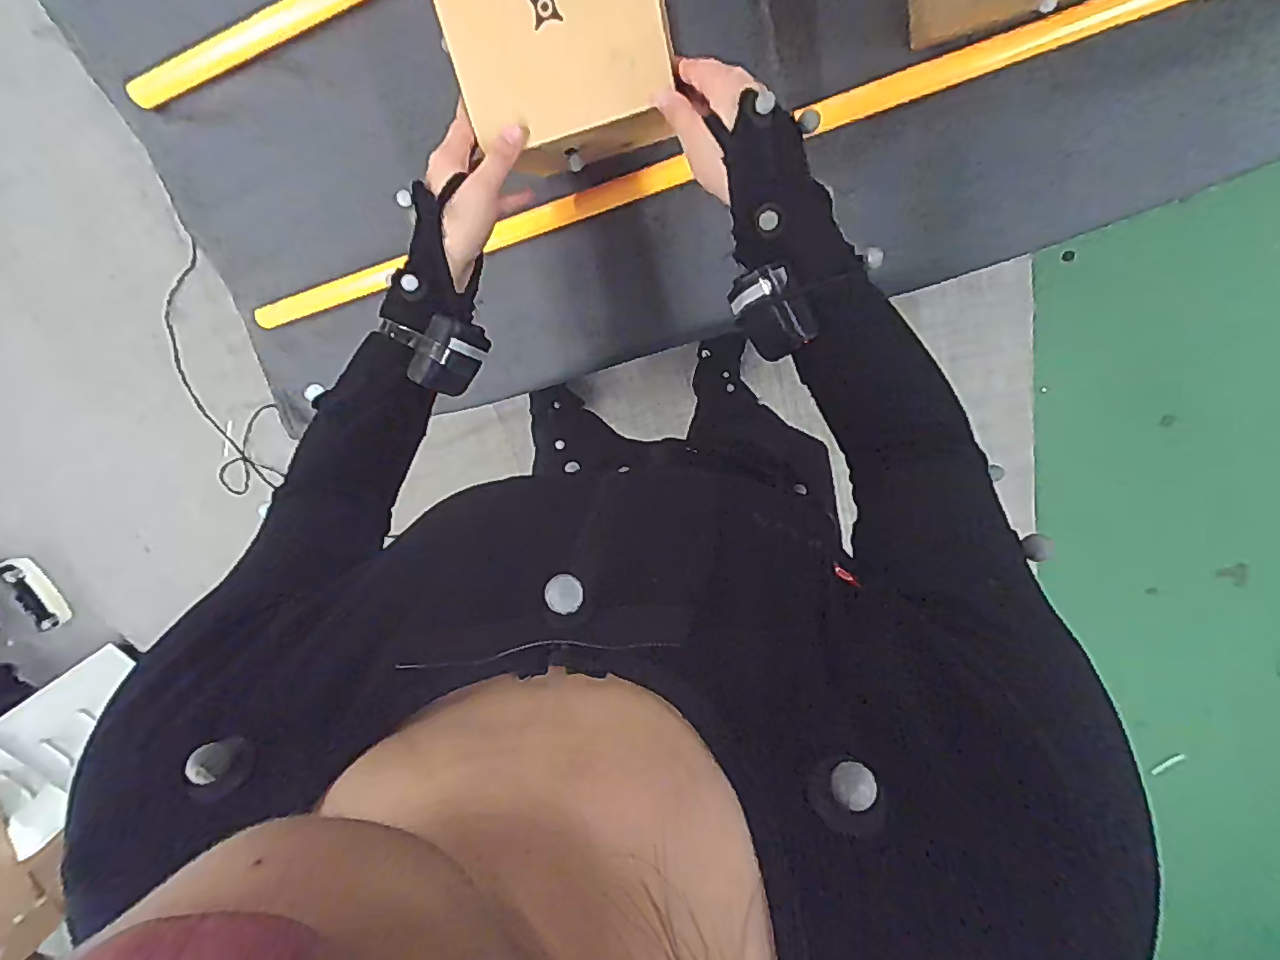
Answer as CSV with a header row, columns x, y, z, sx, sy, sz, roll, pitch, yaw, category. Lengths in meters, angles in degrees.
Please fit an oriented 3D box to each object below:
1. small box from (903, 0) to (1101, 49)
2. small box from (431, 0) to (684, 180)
x,y,z,sx,sy,sz,roll,pitch,yaw,category
0.295,-0.445,0.386,0.168,0.176,0.179,-9,113,14,small box
-0.060,-0.377,0.471,0.168,0.176,0.179,-10,112,12,small box
